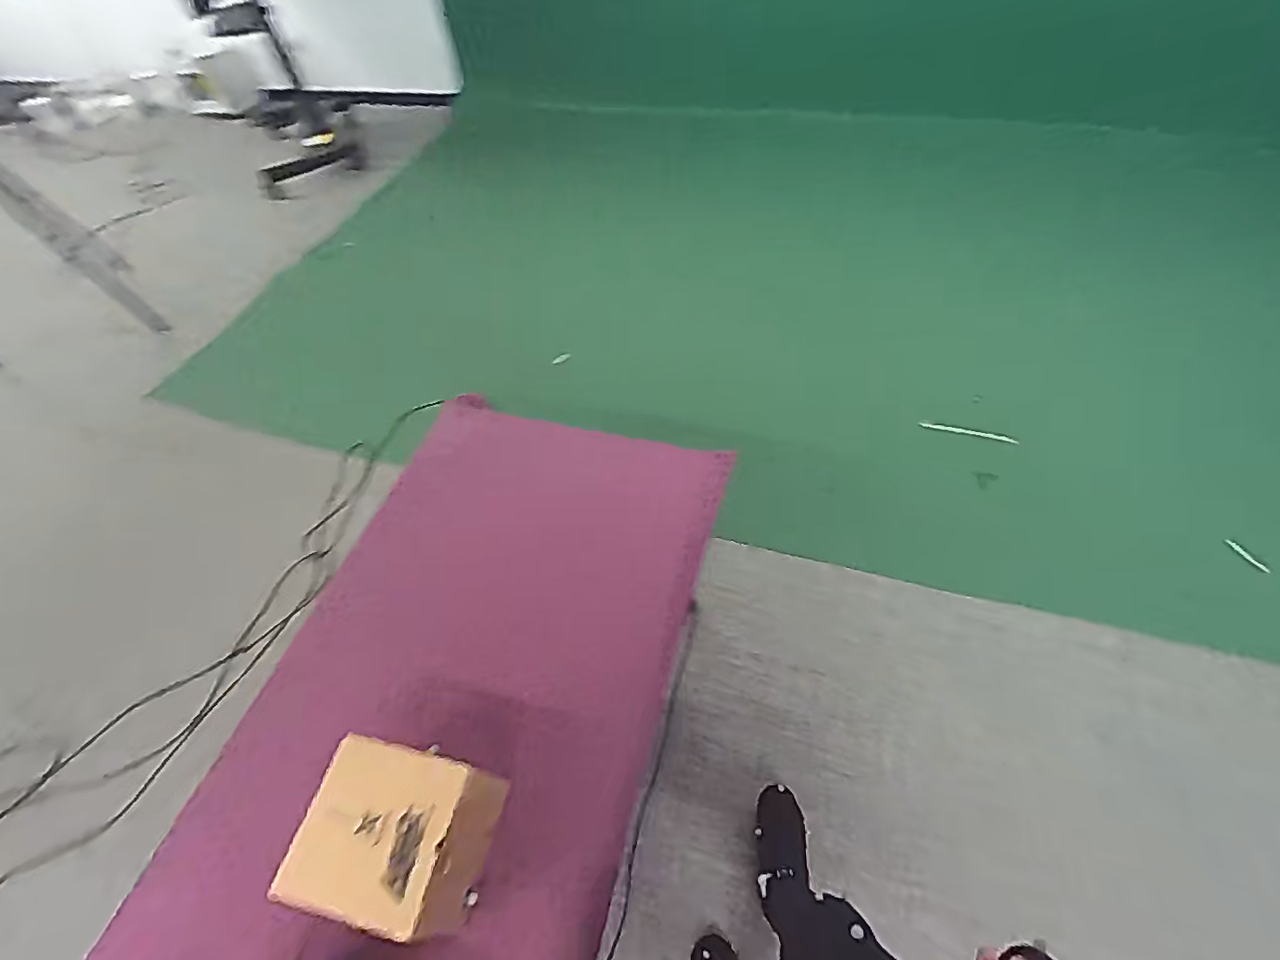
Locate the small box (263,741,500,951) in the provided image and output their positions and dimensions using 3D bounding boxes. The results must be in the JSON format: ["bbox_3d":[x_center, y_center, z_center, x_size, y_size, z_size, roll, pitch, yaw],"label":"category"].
[{"bbox_3d":[-0.295,0.442,0.668,0.179,0.176,0.168,8,56,11],"label":"small box"}]
